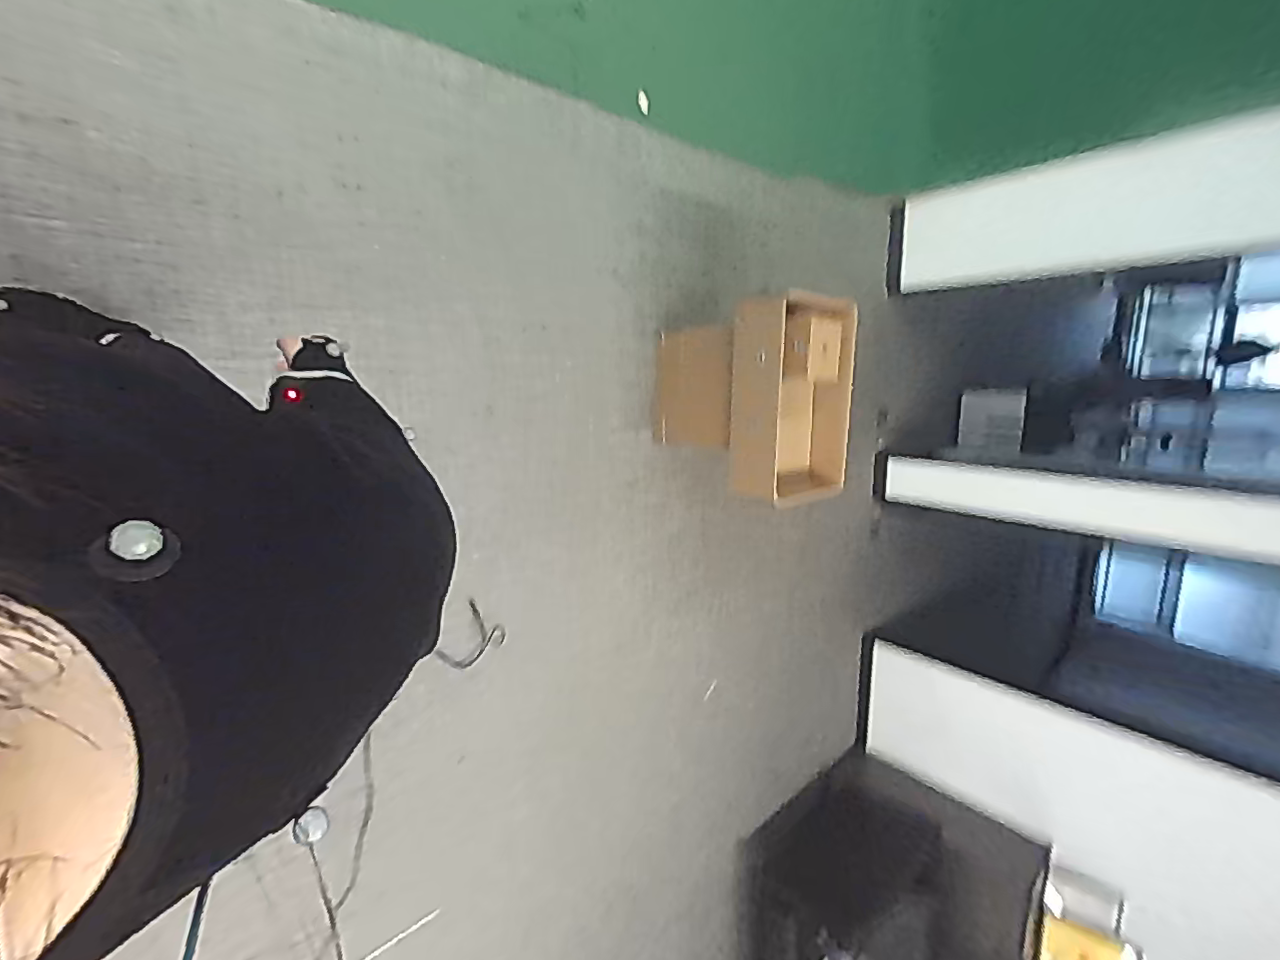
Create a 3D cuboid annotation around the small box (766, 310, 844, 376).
[{"bbox_3d":[0.502,-0.412,1.651,0.168,0.176,0.179,-7,102,-39],"label":"small box"}]
